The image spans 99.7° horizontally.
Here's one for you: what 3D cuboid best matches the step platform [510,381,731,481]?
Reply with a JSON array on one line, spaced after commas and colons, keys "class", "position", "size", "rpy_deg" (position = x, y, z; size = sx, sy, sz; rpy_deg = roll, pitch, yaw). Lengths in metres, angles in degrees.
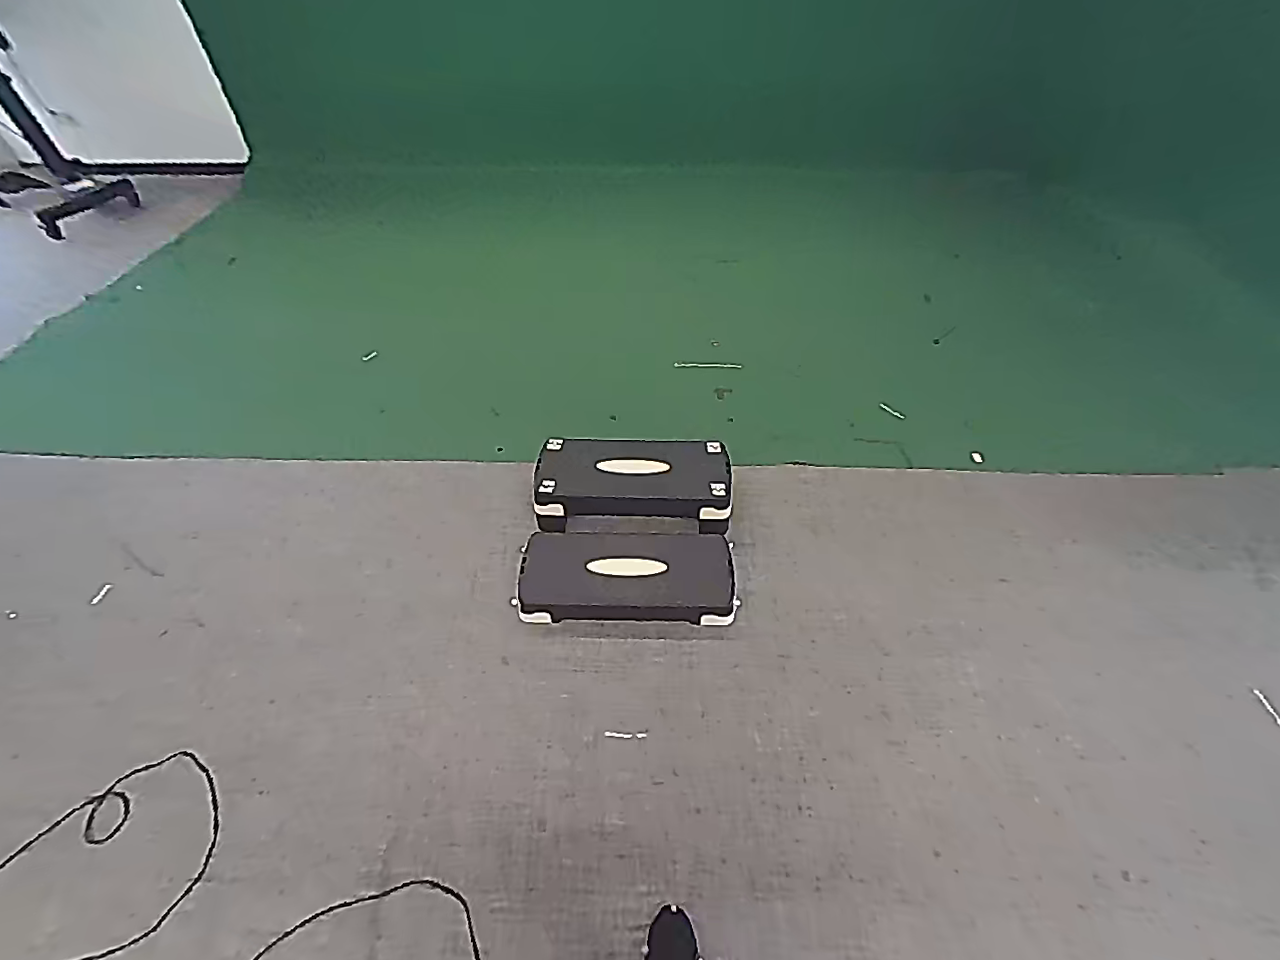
[{"class": "step platform", "position": [-0.058, -0.155, 1.758], "size": [0.684, 0.204, 0.286], "rpy_deg": [0, 48, 1]}]
